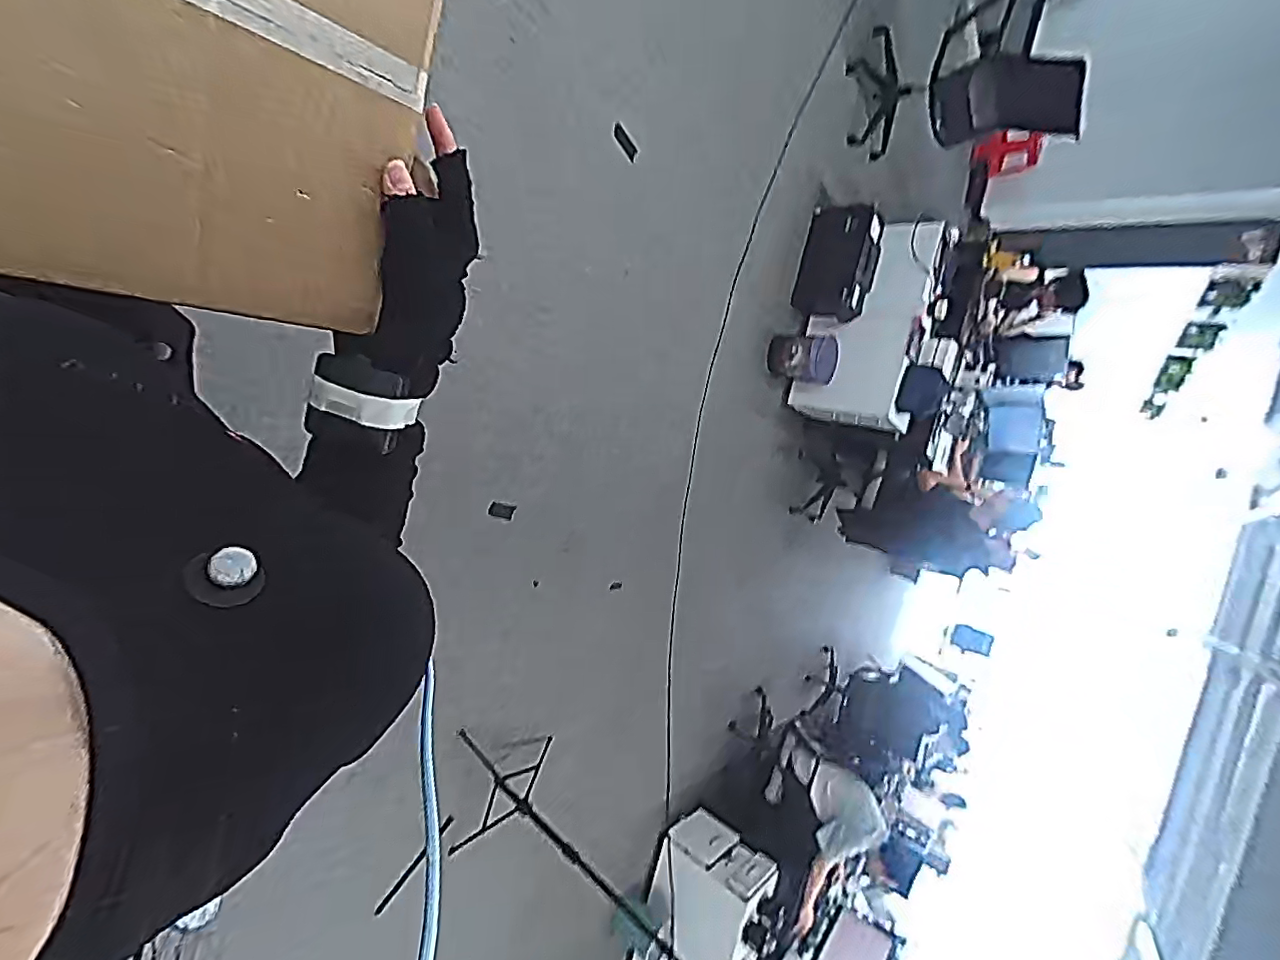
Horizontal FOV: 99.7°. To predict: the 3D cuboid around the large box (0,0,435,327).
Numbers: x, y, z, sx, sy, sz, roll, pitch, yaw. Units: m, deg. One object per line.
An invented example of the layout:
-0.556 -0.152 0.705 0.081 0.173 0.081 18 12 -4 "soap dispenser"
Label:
-0.371 -0.312 0.282 0.408 0.320 0.320 -2 125 -46 "large box"
